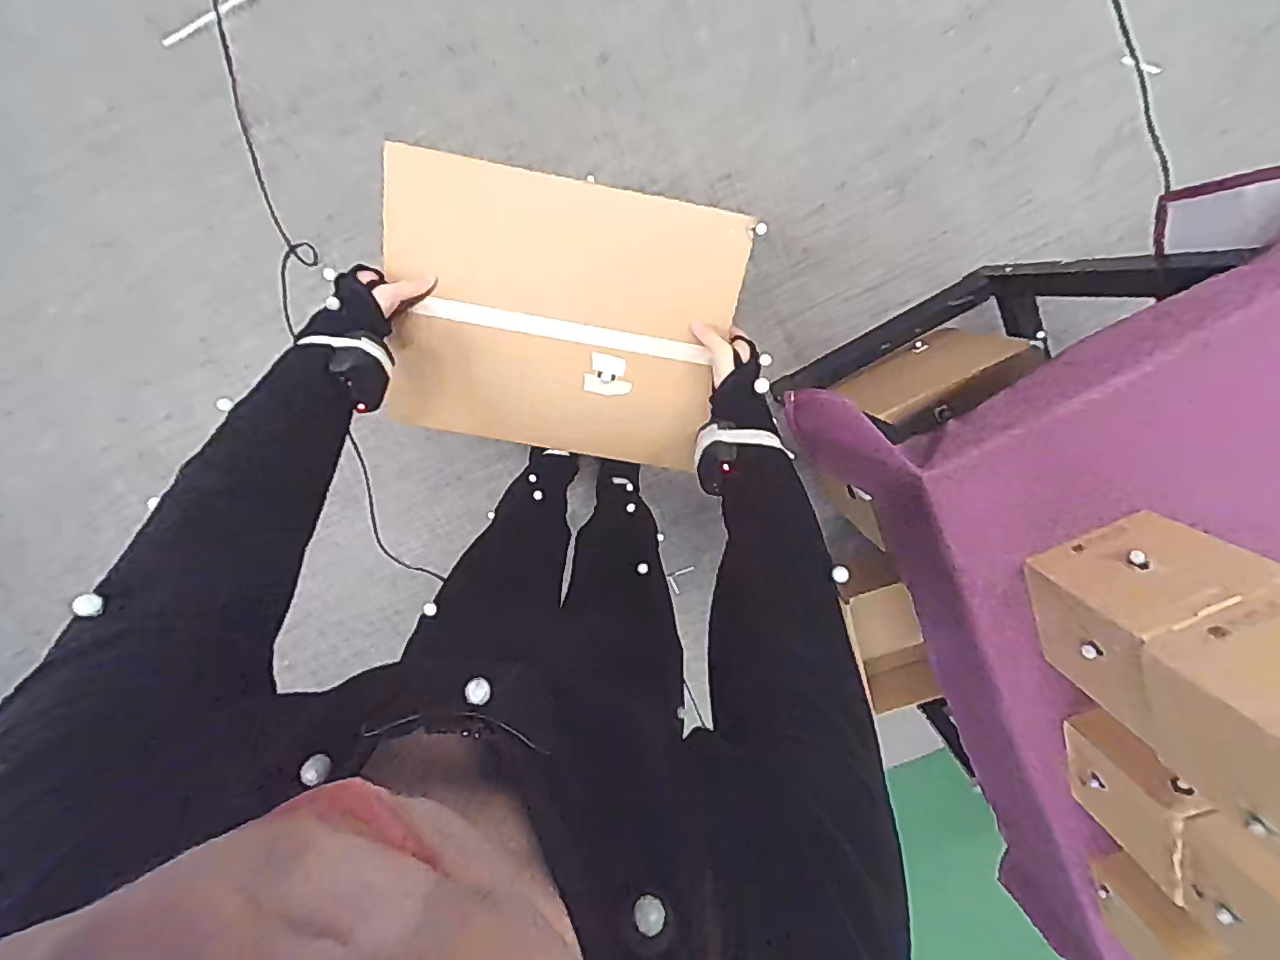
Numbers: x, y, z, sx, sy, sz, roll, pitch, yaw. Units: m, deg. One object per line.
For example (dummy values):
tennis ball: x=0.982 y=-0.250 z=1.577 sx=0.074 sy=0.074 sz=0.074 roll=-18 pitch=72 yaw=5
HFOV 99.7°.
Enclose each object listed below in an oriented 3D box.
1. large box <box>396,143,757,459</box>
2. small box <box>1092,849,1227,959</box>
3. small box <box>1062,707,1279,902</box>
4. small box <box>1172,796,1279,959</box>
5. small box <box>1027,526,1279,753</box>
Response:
large box: x=-0.091 y=-0.255 z=0.783 sx=0.408 sy=0.320 sz=0.320 roll=9 pitch=116 yaw=-4
small box: x=0.860 y=0.698 z=0.850 sx=0.179 sy=0.176 sz=0.168 roll=-25 pitch=109 yaw=4
small box: x=0.734 y=0.422 z=0.745 sx=0.179 sy=0.176 sz=0.168 roll=-20 pitch=110 yaw=4
small box: x=0.751 y=0.477 z=0.590 sx=0.179 sy=0.176 sz=0.168 roll=-19 pitch=110 yaw=4
small box: x=0.604 y=0.173 z=0.644 sx=0.168 sy=0.176 sz=0.179 roll=-24 pitch=109 yaw=6
